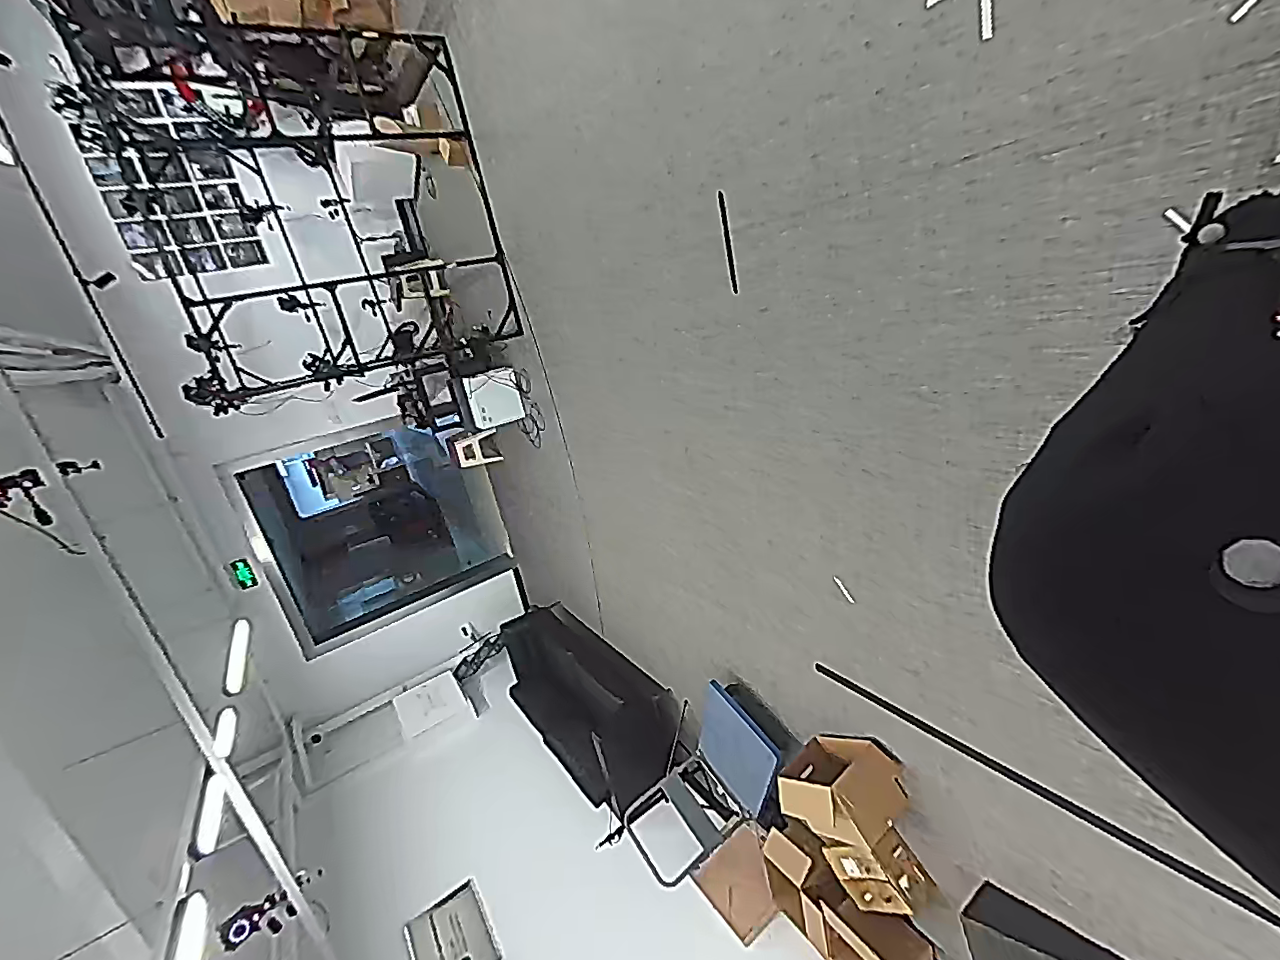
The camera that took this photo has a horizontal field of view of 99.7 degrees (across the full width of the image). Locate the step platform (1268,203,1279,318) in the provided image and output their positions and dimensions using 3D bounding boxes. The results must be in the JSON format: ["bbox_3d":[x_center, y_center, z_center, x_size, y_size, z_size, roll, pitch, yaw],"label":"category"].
[{"bbox_3d":[1.349,-0.388,0.710,0.684,0.204,0.286,16,123,57],"label":"step platform"}]
